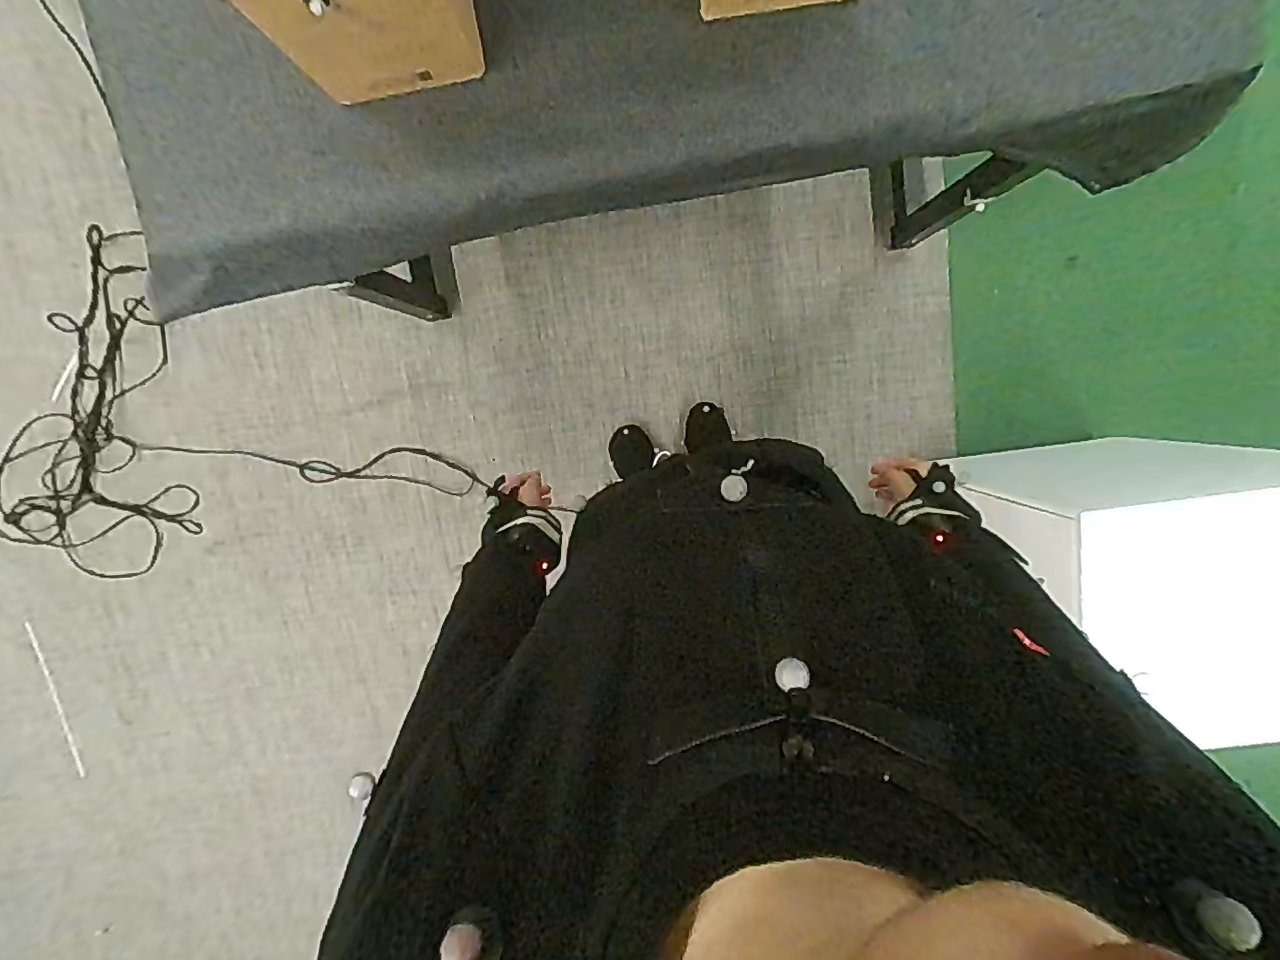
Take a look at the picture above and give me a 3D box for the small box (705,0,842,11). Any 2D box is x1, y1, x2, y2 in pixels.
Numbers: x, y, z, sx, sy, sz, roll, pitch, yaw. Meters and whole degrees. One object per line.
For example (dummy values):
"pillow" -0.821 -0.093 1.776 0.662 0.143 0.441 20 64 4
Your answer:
"small box" 0.131 -0.554 0.468 0.168 0.176 0.179 -7 98 2

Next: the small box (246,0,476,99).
"small box" -0.262 -0.488 0.481 0.168 0.176 0.179 -9 98 2
